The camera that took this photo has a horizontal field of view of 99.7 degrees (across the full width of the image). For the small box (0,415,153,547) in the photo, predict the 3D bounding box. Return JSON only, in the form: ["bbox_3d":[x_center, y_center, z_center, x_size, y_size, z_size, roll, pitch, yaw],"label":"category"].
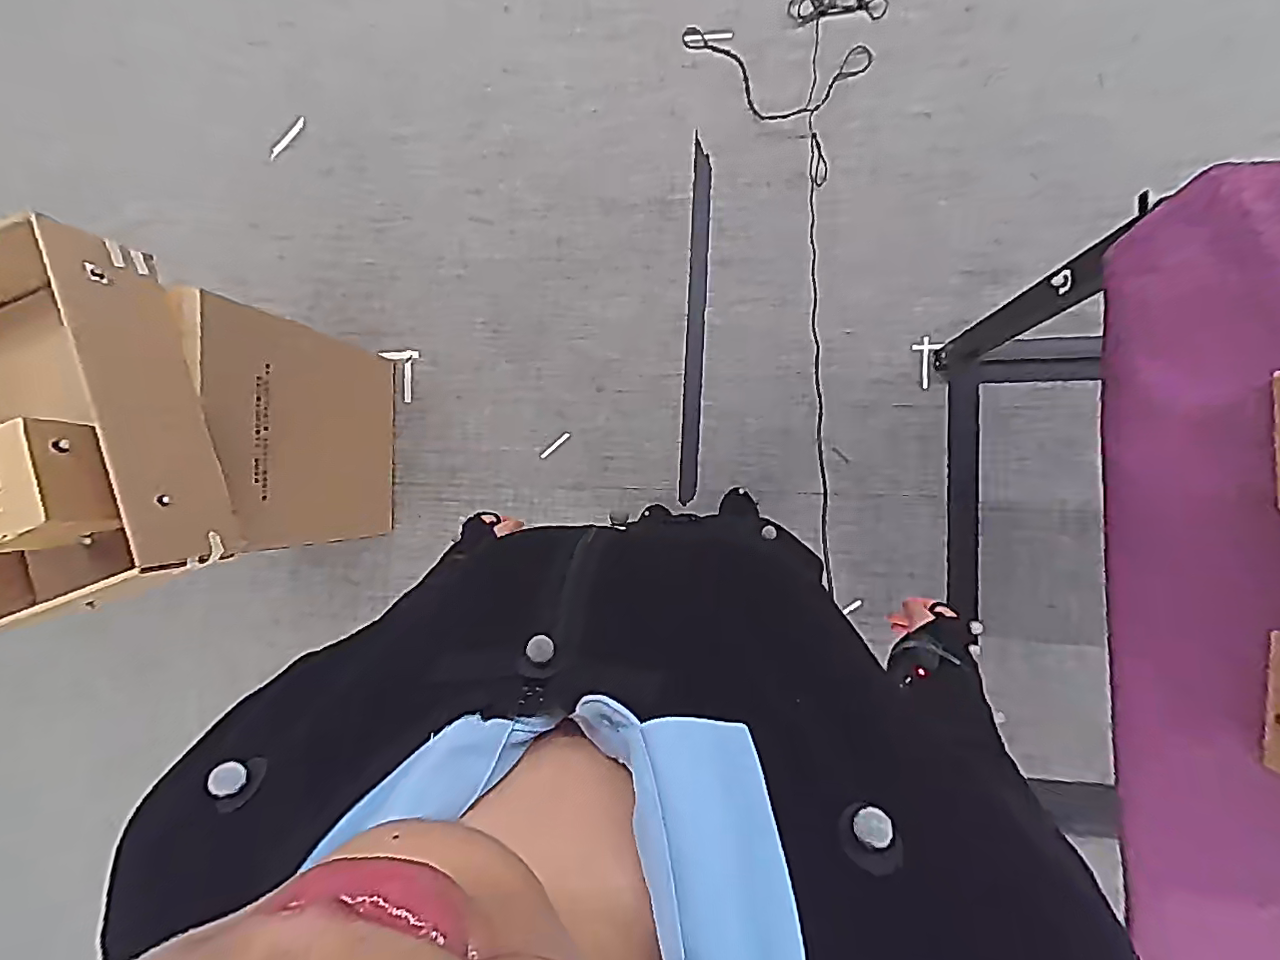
[{"bbox_3d":[-0.983,0.009,0.908,0.168,0.176,0.179,-18,87,6],"label":"small box"}]
